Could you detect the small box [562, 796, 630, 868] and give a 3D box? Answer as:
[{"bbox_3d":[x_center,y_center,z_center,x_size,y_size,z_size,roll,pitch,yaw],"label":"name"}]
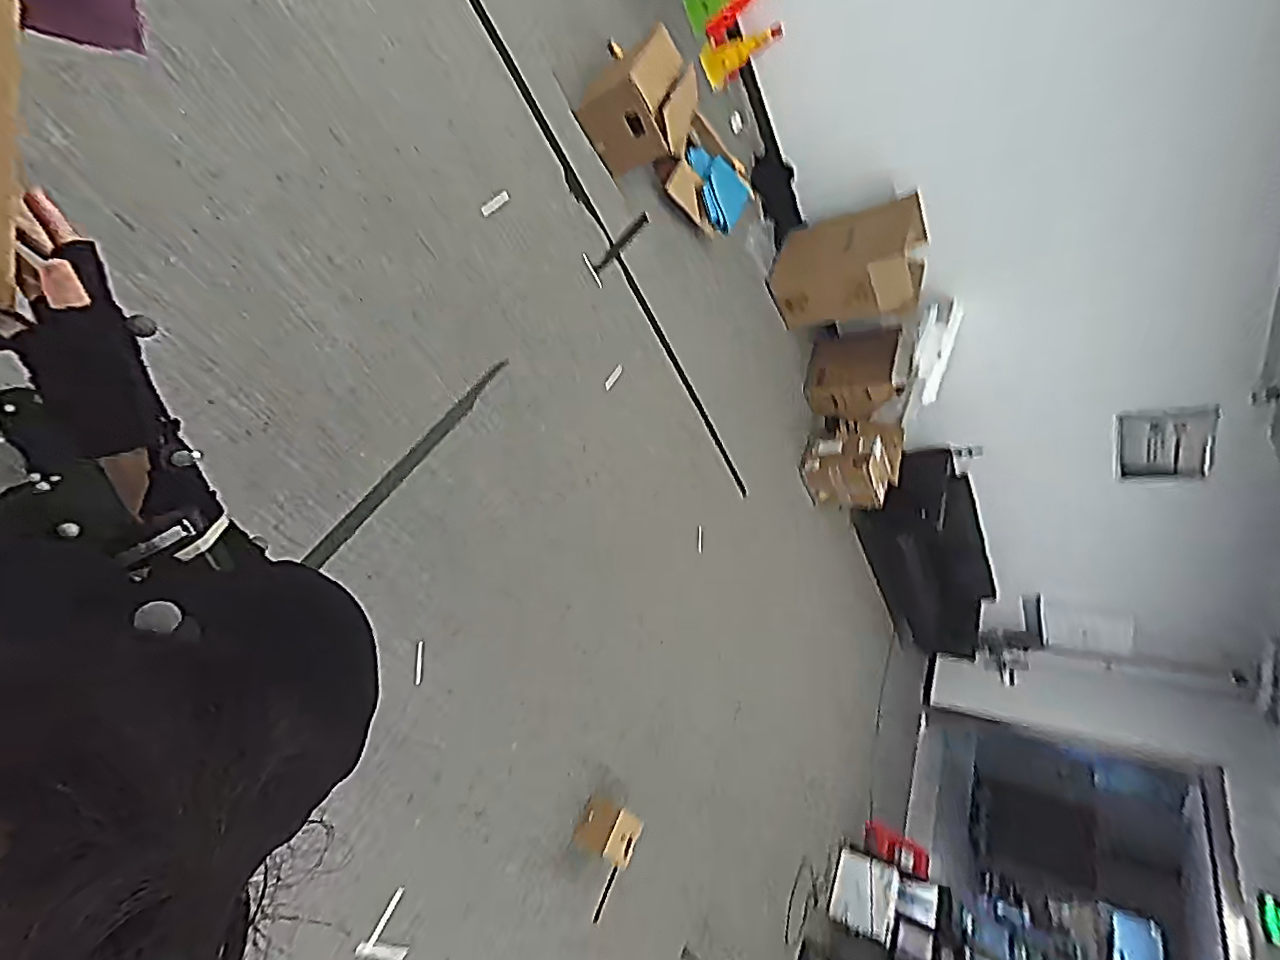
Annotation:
[{"bbox_3d":[-0.174,1.393,2.149,0.179,0.176,0.168,57,48,-32],"label":"small box"}]
